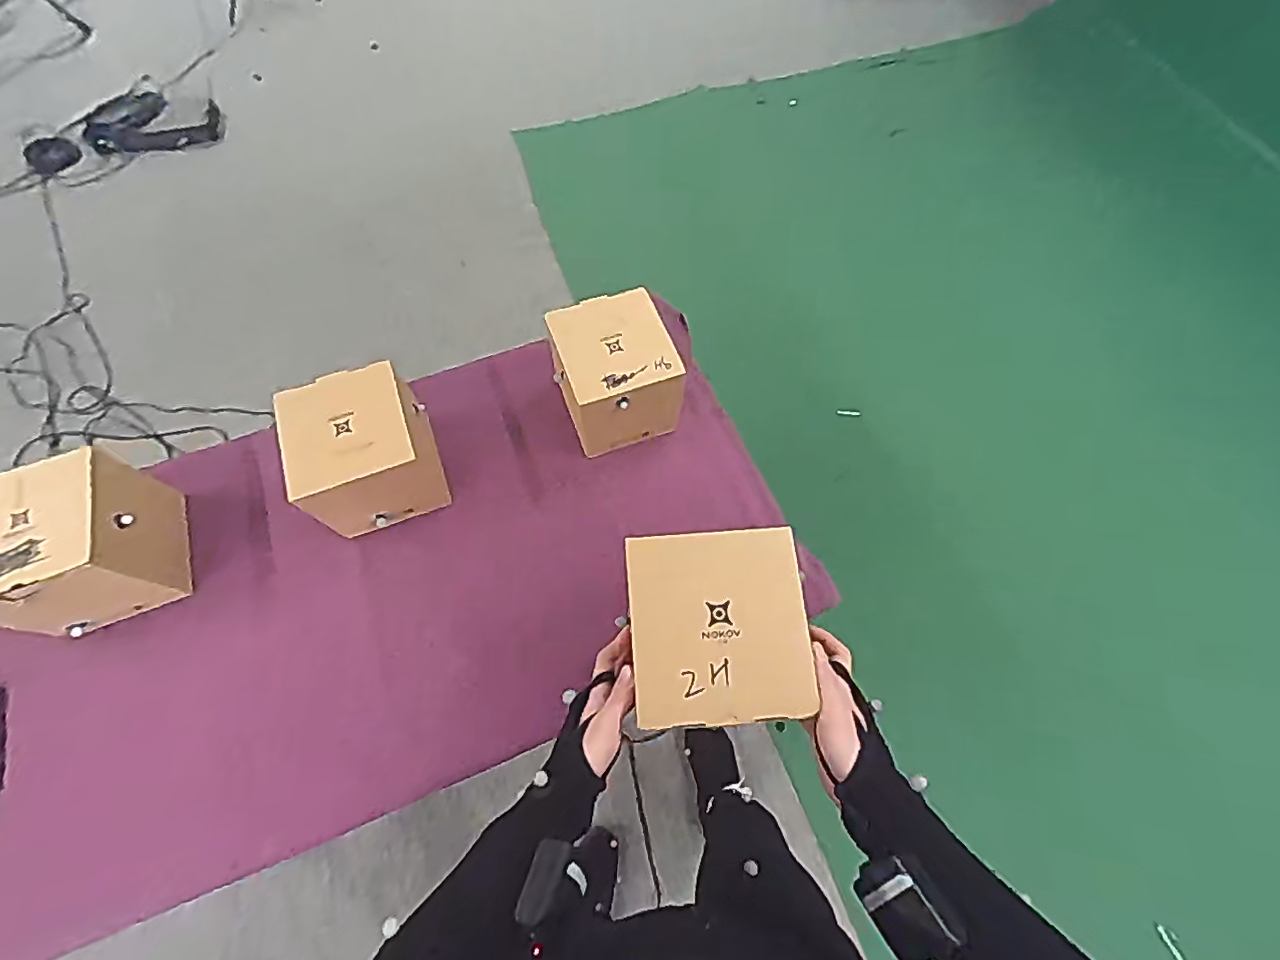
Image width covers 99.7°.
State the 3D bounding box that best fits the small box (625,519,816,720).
[{"bbox_3d":[0.071,0.151,0.580,0.168,0.176,0.179,-5,72,0],"label":"small box"}]

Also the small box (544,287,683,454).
[{"bbox_3d":[-0.042,-0.170,0.868,0.168,0.176,0.179,-19,67,-8],"label":"small box"}]

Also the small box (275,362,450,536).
[{"bbox_3d":[-0.405,-0.040,0.809,0.168,0.176,0.179,-20,68,-8],"label":"small box"}]

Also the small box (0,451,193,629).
[{"bbox_3d":[-0.761,0.092,0.744,0.168,0.176,0.179,-21,67,-9],"label":"small box"}]
